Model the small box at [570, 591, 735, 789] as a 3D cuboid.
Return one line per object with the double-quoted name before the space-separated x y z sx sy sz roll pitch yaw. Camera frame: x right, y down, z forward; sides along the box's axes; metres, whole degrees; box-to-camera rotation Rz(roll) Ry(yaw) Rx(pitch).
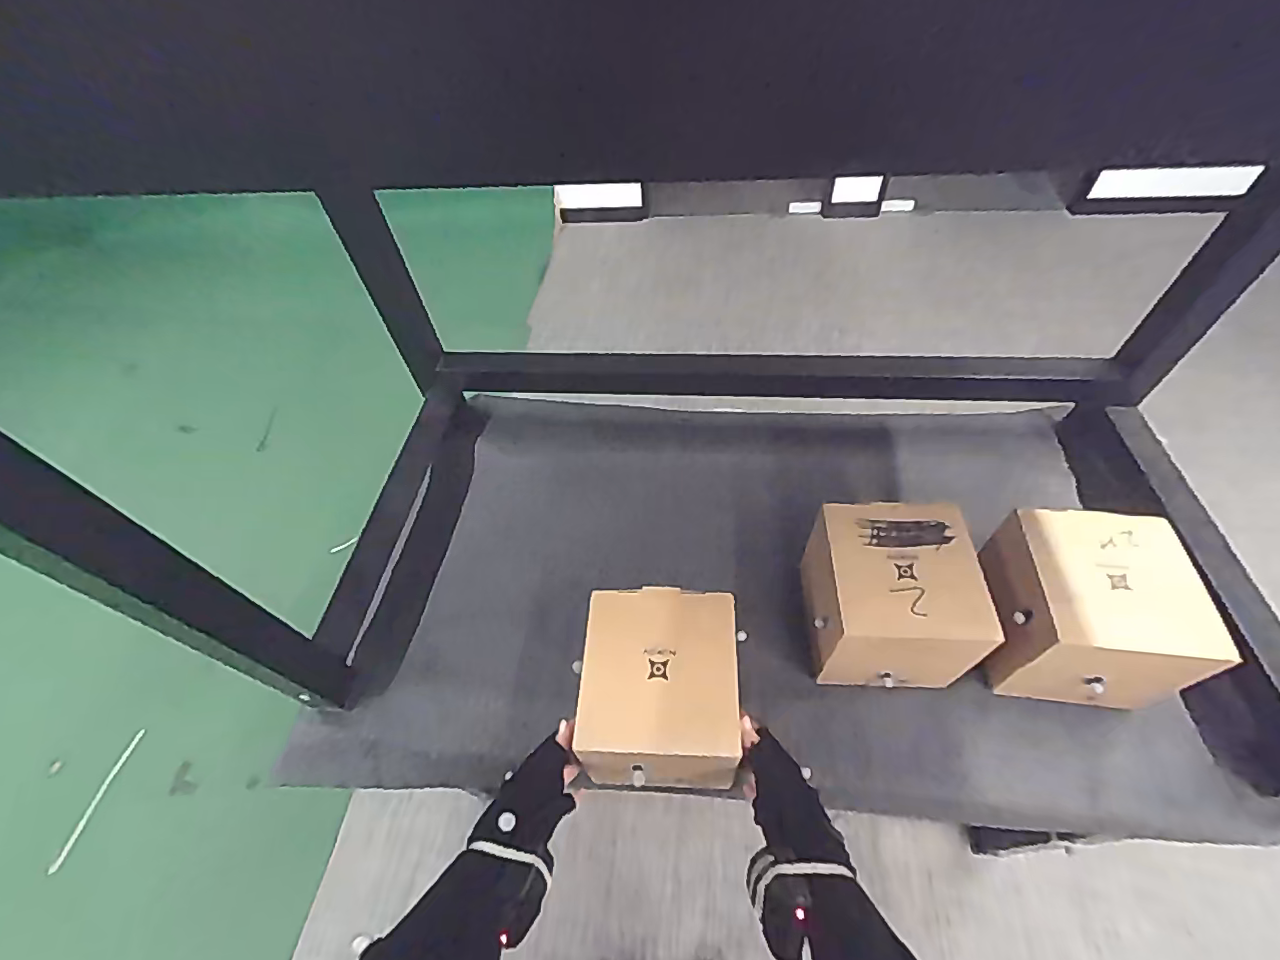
"small box" 0.023 0.248 0.634 0.168 0.176 0.179 0 49 5
